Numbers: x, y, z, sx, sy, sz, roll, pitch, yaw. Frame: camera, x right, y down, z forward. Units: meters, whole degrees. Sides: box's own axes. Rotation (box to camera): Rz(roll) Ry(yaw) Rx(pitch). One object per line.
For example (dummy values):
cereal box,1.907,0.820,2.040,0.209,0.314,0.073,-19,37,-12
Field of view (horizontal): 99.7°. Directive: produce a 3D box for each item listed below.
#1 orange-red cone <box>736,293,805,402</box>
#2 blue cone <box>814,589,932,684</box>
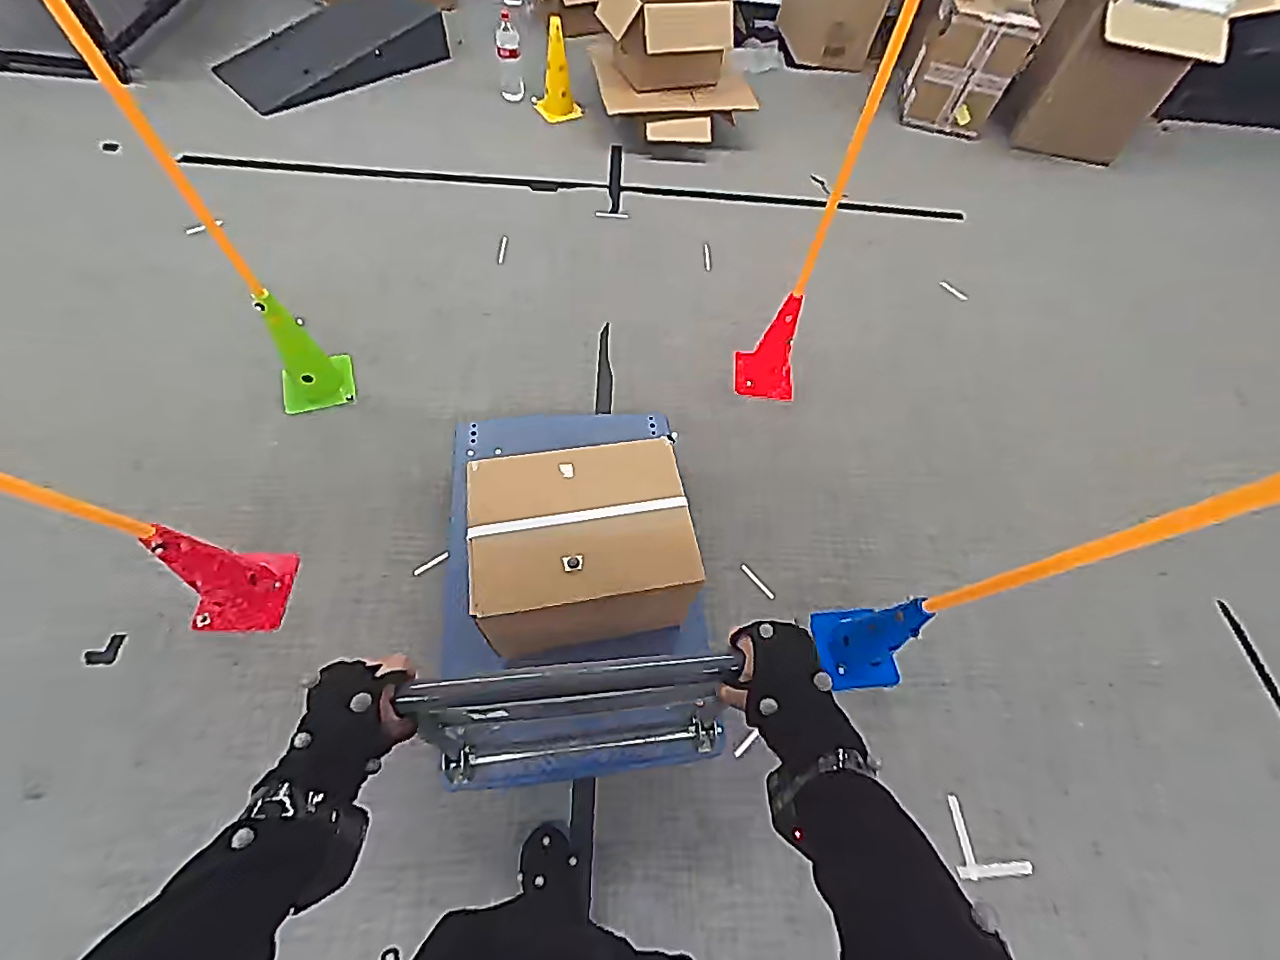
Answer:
orange-red cone,0.447,-0.442,1.712,0.199,0.360,0.198,8,60,-2
blue cone,0.579,0.349,1.279,0.193,0.380,0.192,-1,59,-7
